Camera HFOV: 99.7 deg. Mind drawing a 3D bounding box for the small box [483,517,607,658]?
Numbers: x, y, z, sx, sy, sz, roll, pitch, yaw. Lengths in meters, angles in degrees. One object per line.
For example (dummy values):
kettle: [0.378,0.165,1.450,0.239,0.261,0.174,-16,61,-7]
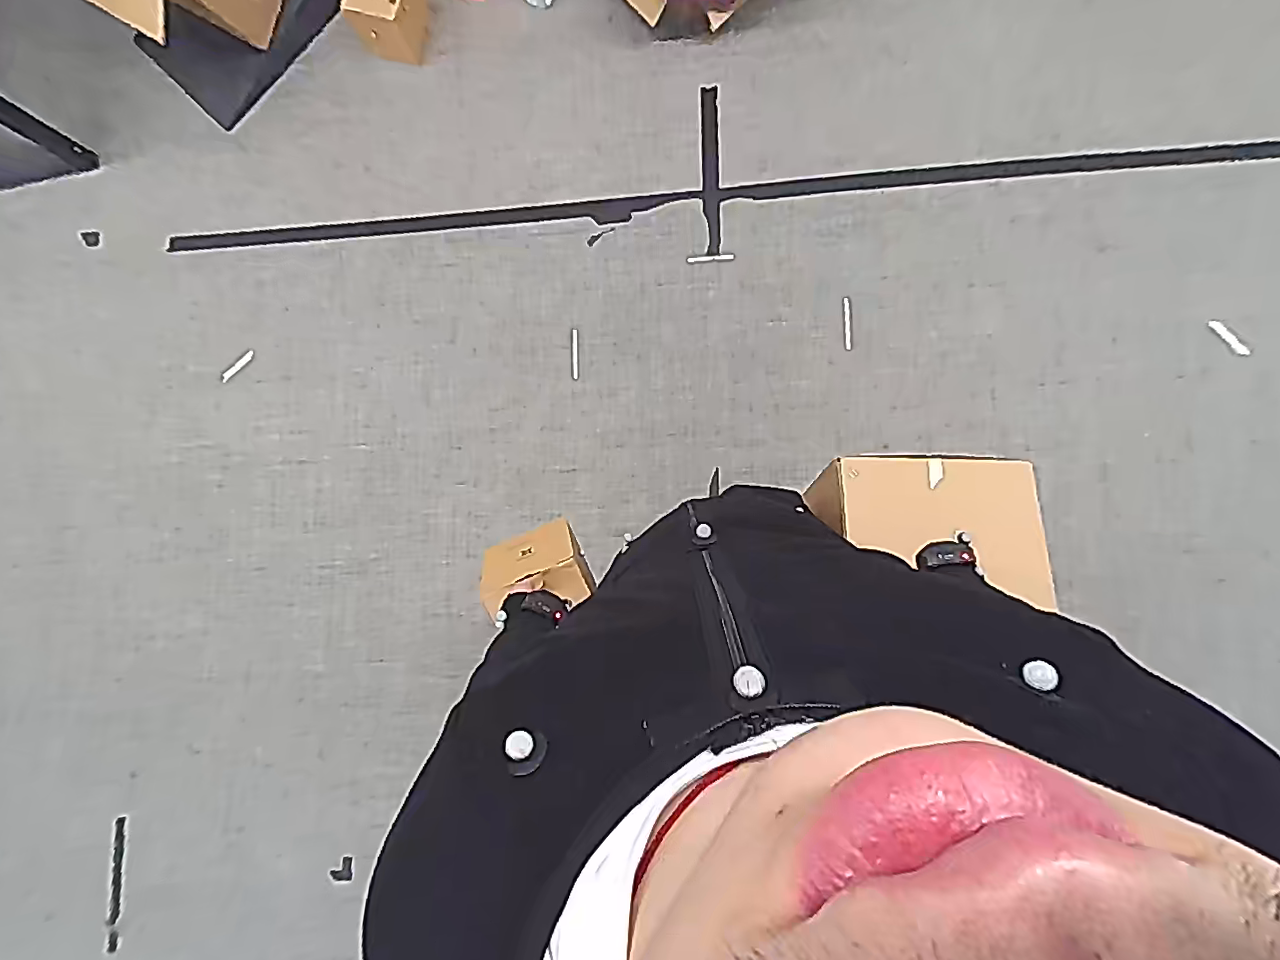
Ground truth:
small box: [-0.171,0.199,0.990,0.168,0.179,0.176,-22,112,-4]
